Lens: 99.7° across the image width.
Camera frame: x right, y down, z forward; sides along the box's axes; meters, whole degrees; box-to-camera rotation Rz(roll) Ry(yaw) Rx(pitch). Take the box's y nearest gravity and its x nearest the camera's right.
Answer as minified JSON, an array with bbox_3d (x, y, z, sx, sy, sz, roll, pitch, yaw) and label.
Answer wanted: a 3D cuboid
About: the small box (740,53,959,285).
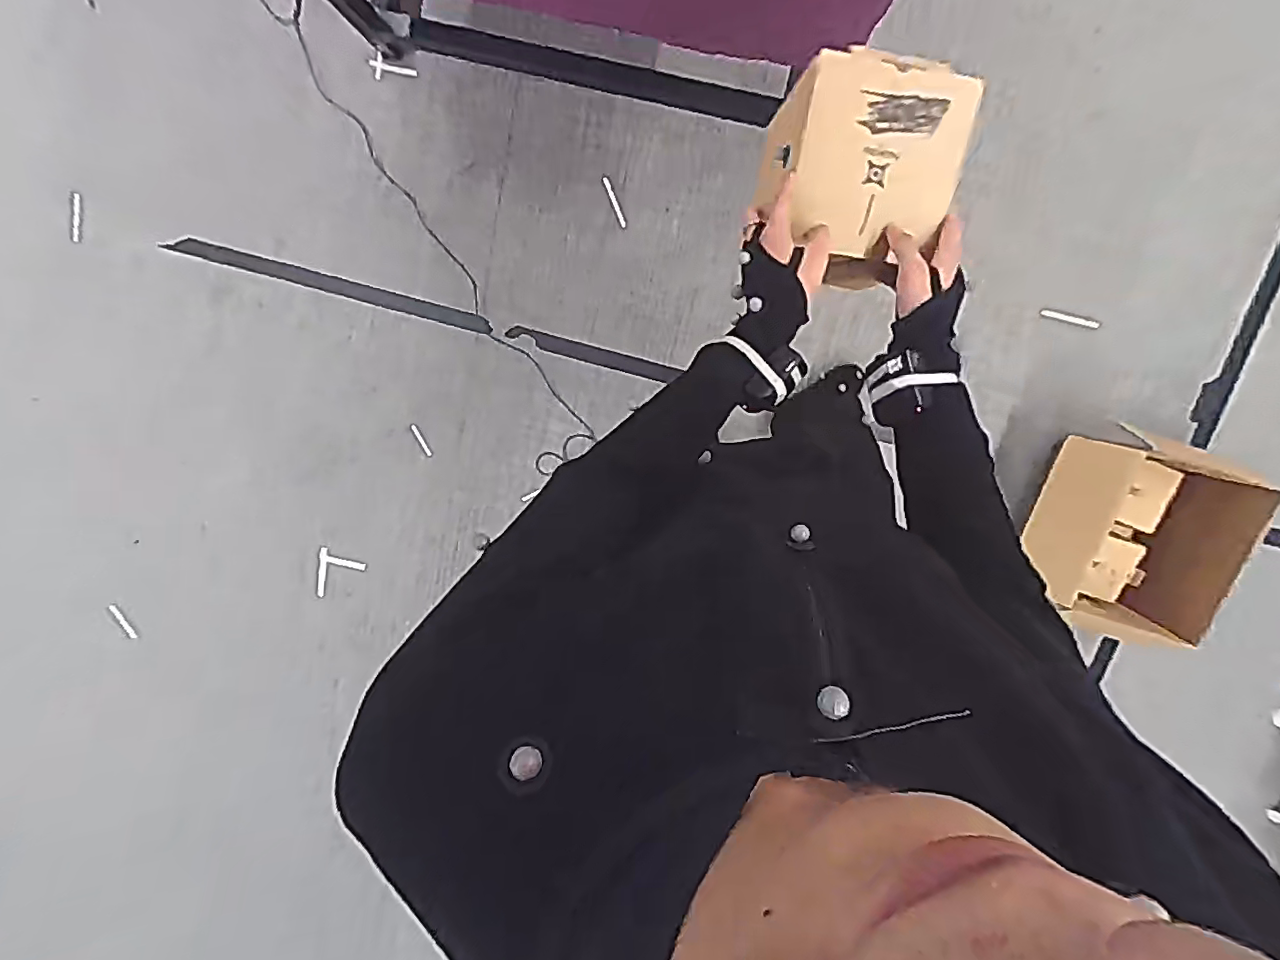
[{"bbox_3d":[0.222,-0.336,0.622,0.168,0.176,0.179,6,101,-4],"label":"small box"}]
